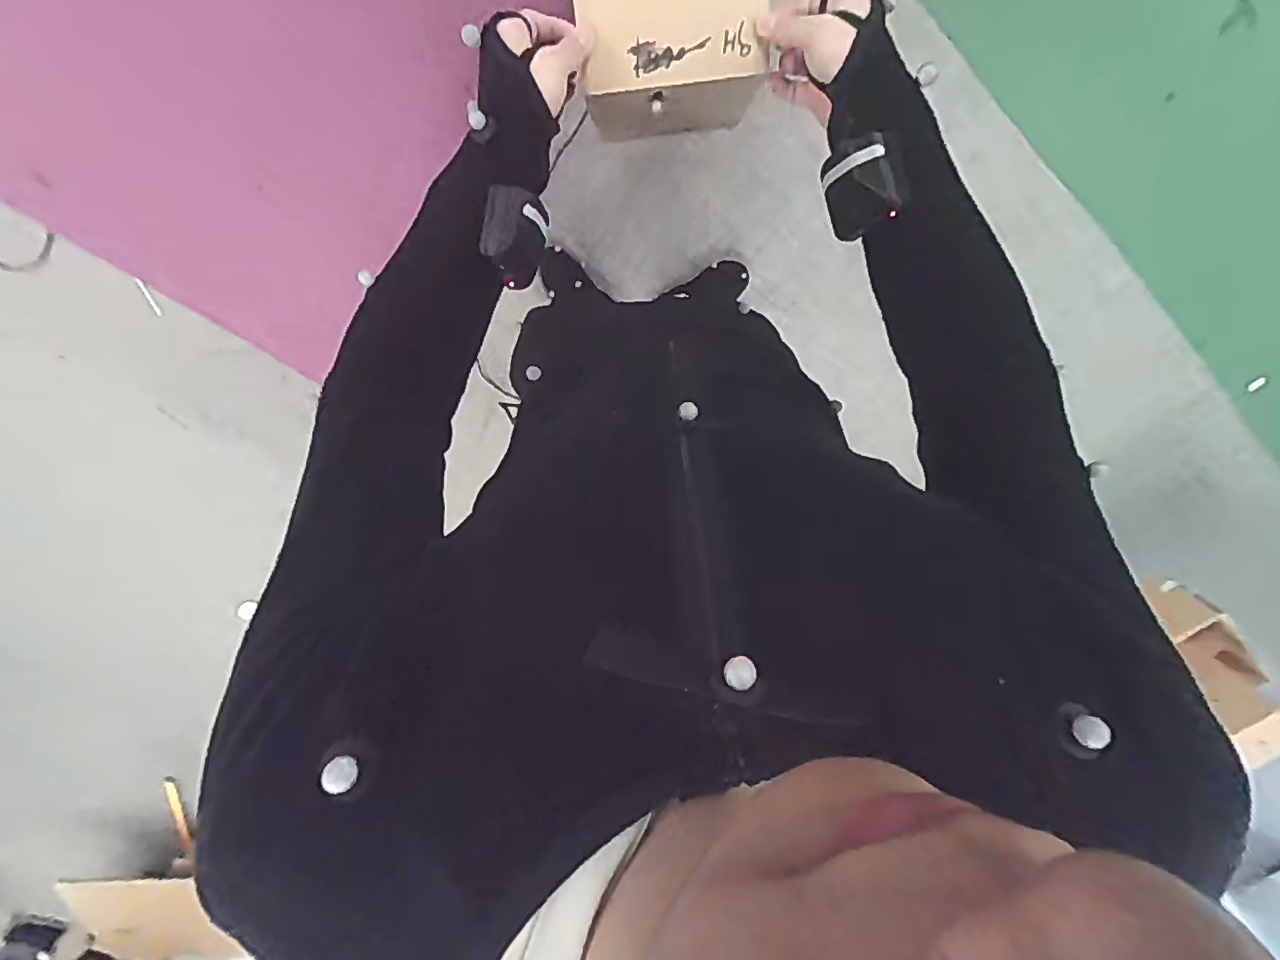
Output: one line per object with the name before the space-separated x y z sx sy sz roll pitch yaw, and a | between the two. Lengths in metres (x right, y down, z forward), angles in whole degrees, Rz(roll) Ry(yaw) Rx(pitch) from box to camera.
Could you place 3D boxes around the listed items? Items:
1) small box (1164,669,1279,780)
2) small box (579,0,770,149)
small box | 1.509 0.613 1.375 0.179 0.176 0.168 37 110 -18
small box | 0.028 -0.448 0.527 0.168 0.176 0.179 -4 110 2
